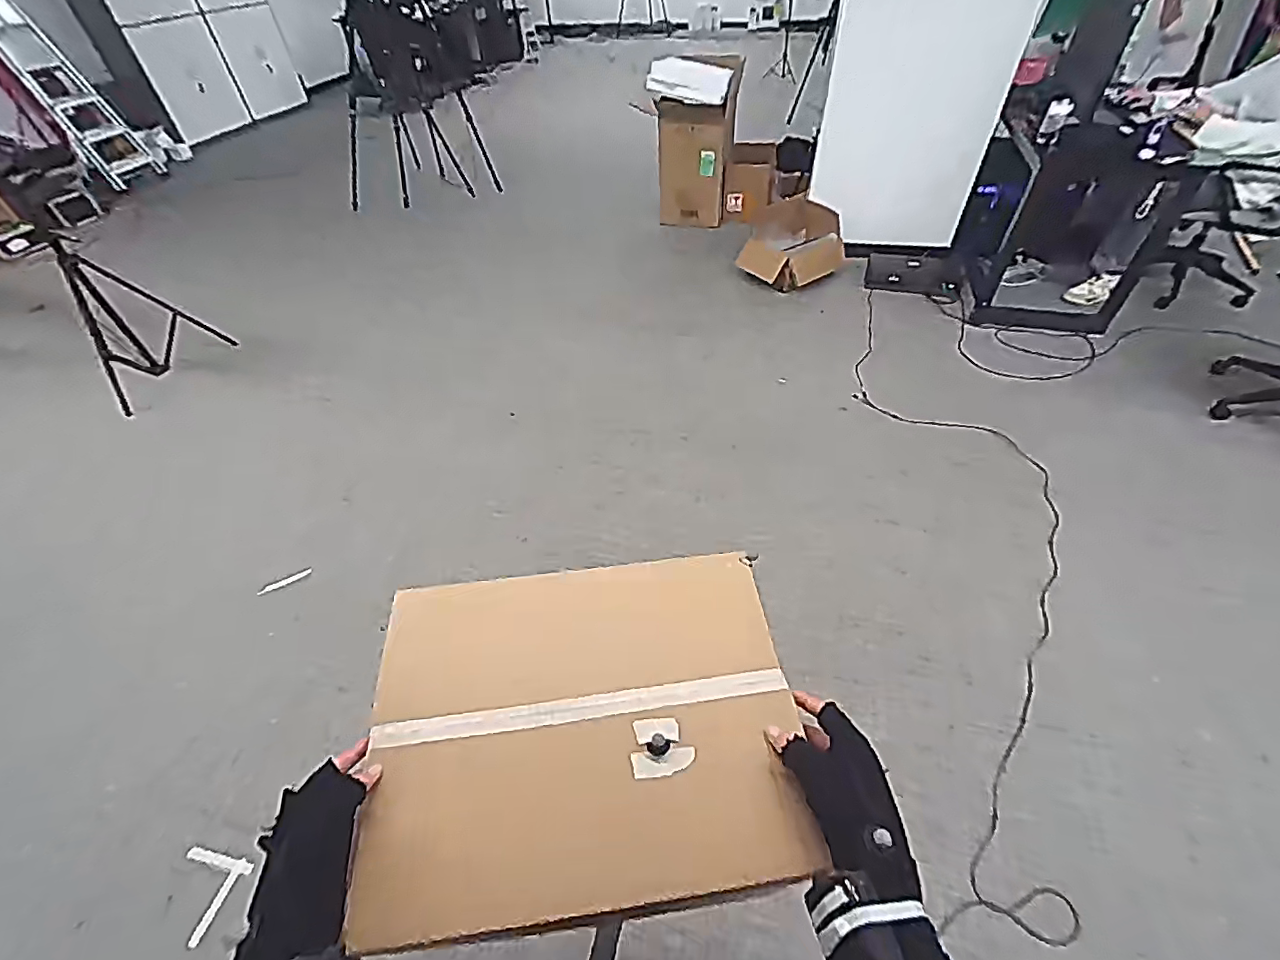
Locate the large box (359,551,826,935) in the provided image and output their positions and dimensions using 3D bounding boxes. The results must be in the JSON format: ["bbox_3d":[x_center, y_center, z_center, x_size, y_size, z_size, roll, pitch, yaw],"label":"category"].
[{"bbox_3d":[-0.054,0.319,0.658,0.408,0.320,0.320,-5,50,-5],"label":"large box"}]
